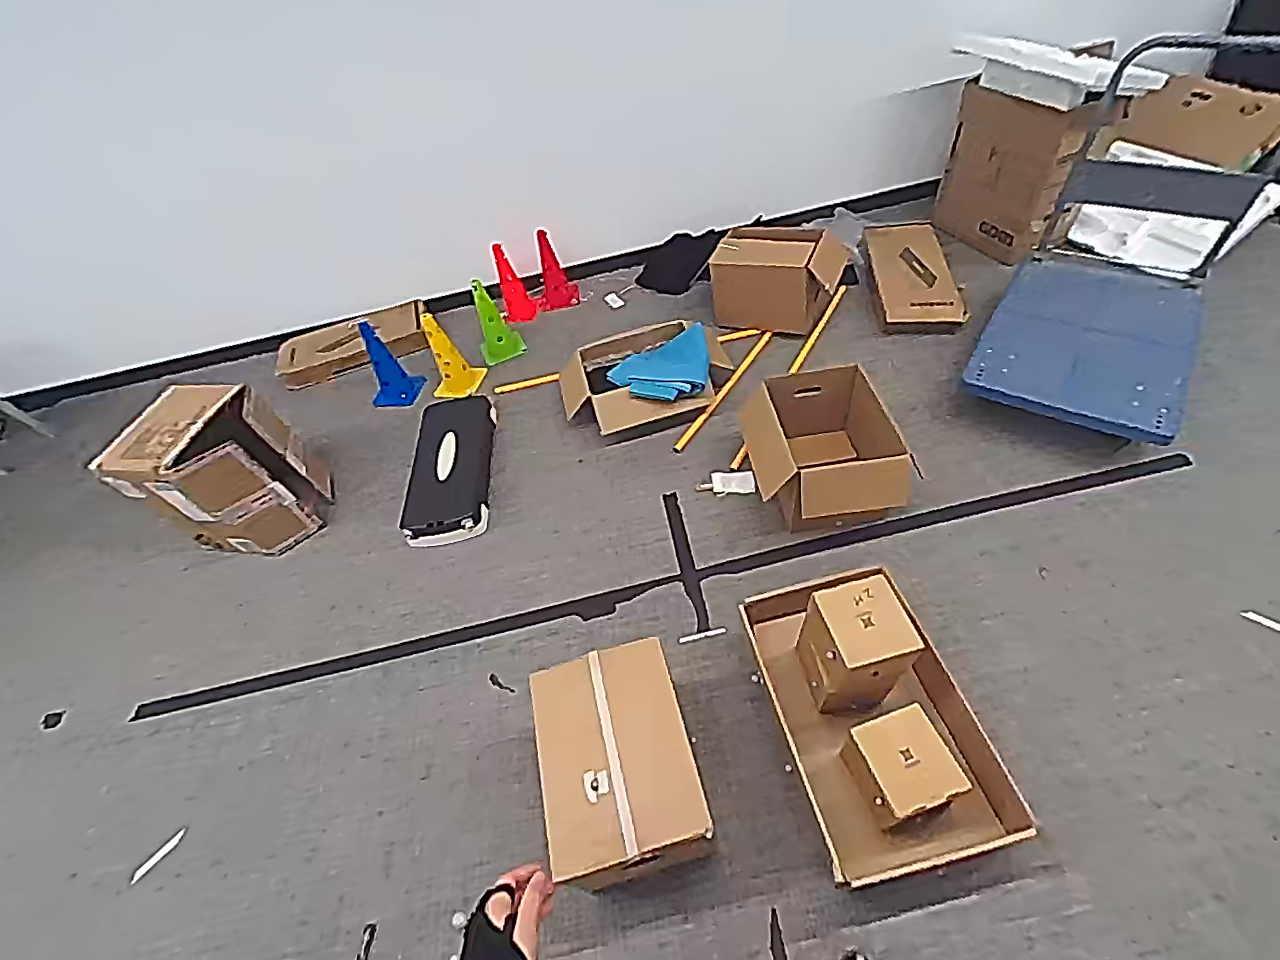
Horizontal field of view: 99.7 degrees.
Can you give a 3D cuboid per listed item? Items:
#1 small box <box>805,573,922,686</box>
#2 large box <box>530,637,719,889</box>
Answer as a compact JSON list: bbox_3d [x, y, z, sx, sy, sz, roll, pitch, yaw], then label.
[{"bbox_3d":[0.479,0.336,1.191,0.168,0.176,0.179,-14,51,-3],"label":"small box"},{"bbox_3d":[-0.034,0.638,1.229,0.320,0.320,0.408,-17,51,-2],"label":"large box"}]
